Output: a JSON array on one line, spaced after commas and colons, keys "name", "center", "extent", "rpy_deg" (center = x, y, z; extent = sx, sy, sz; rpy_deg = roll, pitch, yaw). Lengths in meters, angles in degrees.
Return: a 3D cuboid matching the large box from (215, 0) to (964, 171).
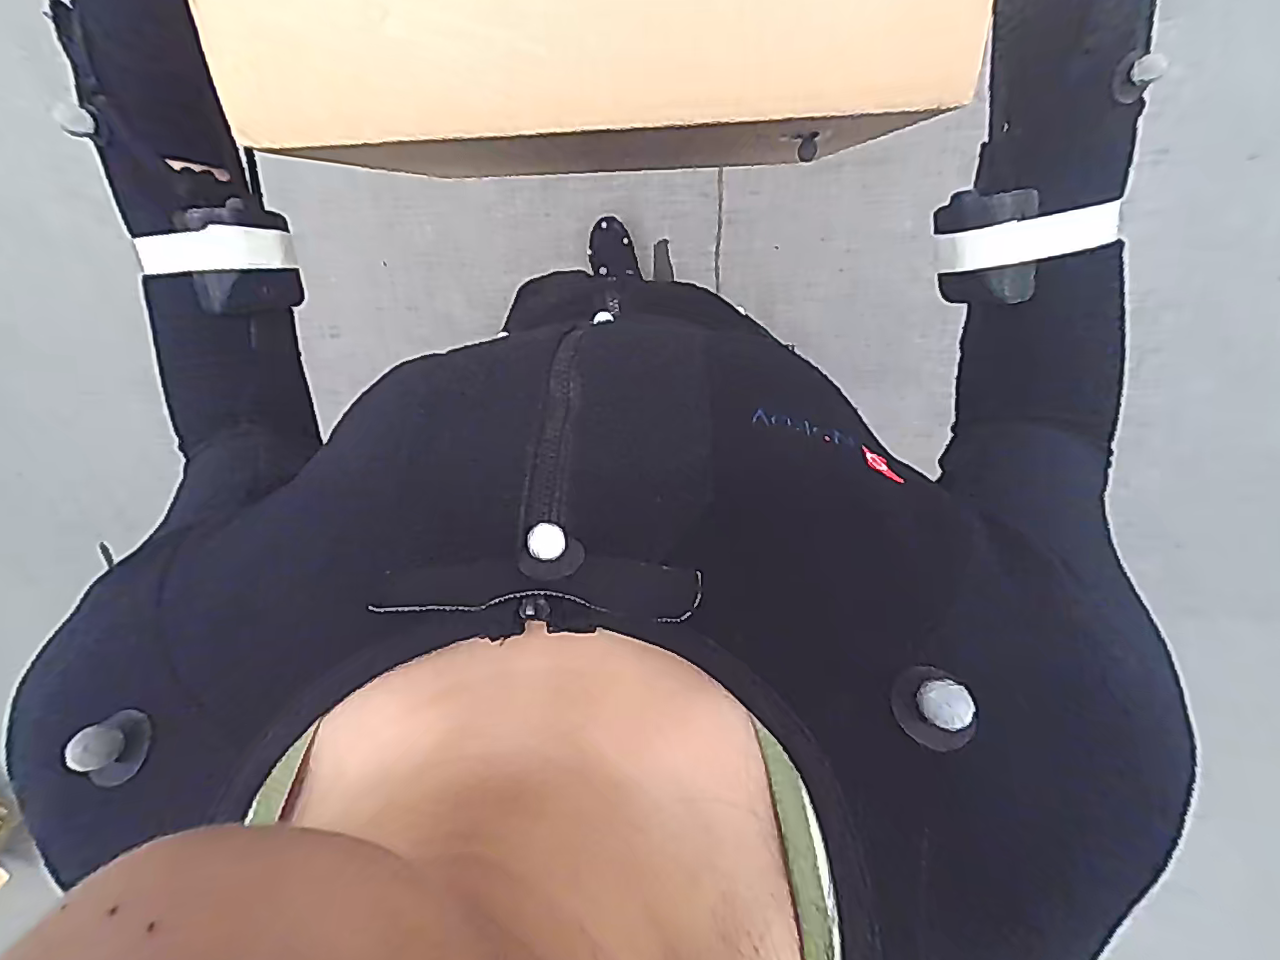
[{"name": "large box", "center": [-0.028, -0.407, 0.374], "extent": [0.408, 0.320, 0.320], "rpy_deg": [-1, 116, 3]}]
